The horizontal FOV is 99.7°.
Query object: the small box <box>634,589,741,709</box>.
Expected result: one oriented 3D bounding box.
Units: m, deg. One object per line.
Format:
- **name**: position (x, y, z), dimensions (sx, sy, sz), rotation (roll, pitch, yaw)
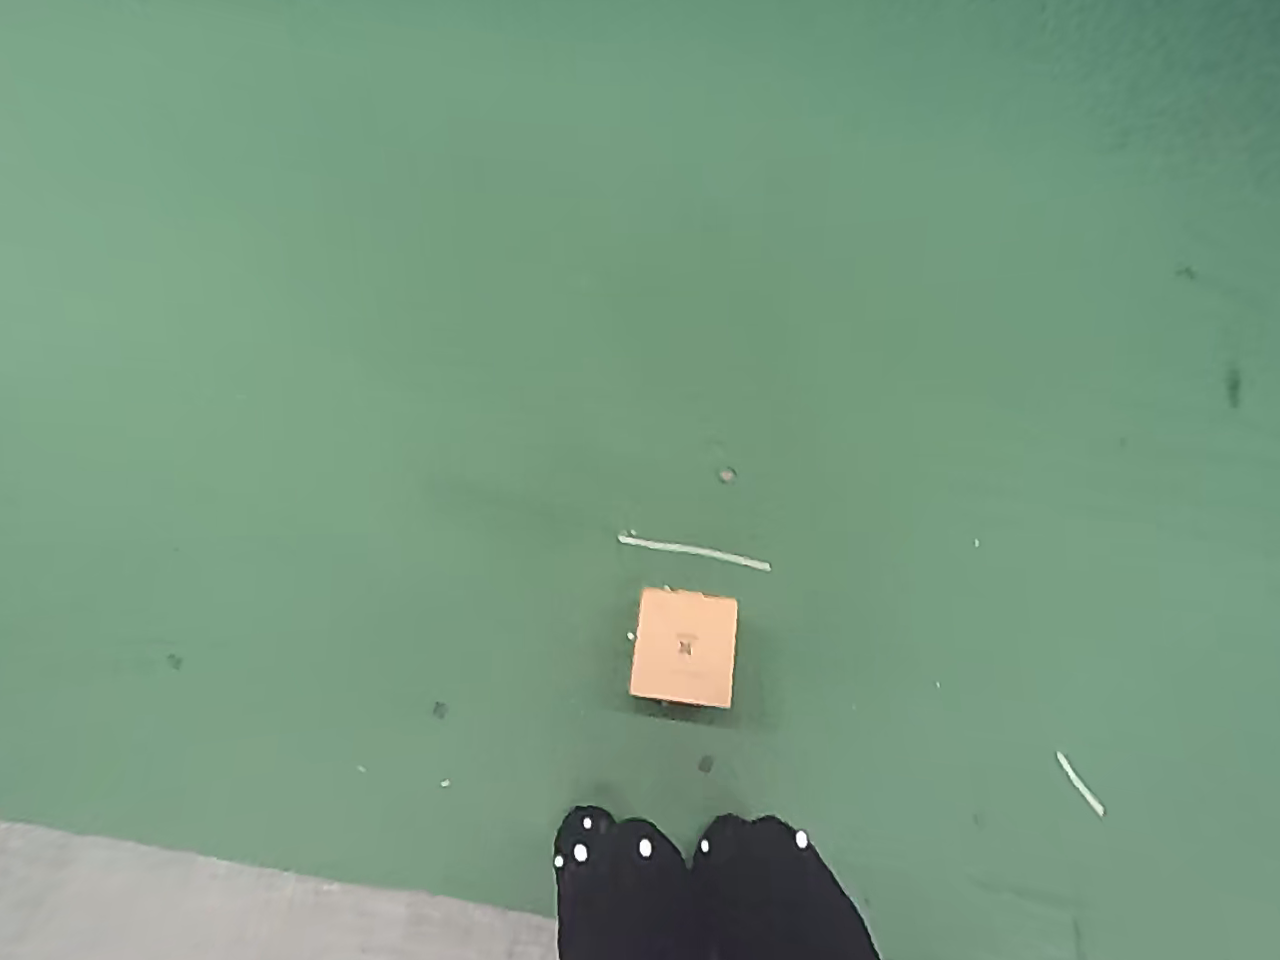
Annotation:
- **small box**: position (0.081, 0.305, 0.981), dimensions (0.168, 0.176, 0.179), rotation (7, 72, 1)
